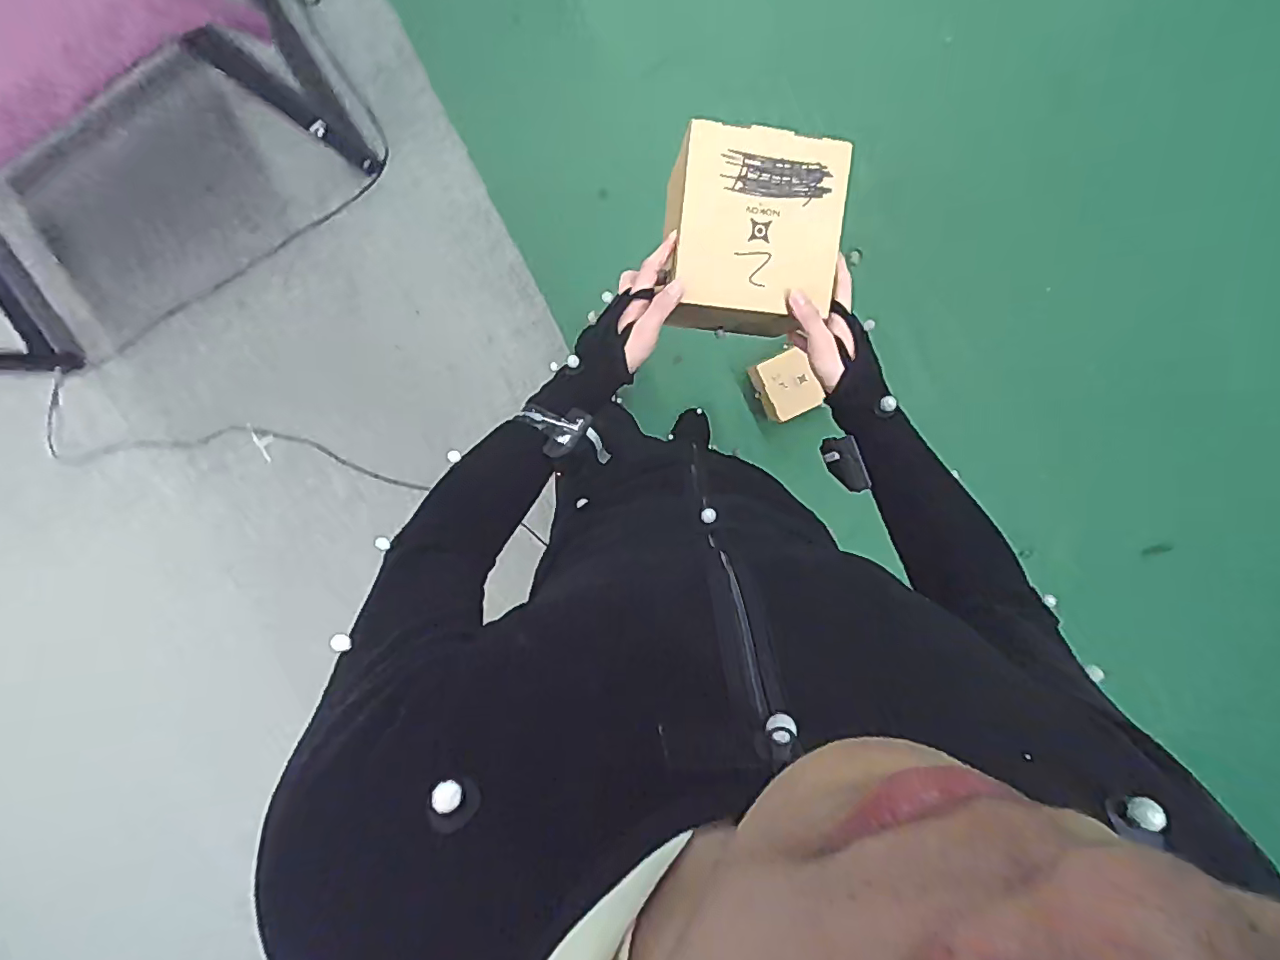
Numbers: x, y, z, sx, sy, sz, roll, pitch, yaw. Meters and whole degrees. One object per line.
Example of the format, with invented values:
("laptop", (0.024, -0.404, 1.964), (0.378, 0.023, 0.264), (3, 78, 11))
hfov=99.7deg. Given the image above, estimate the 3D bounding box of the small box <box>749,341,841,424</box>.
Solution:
("small box", (0.416, -0.267, 1.481), (0.179, 0.176, 0.168), (-24, 98, 7))
